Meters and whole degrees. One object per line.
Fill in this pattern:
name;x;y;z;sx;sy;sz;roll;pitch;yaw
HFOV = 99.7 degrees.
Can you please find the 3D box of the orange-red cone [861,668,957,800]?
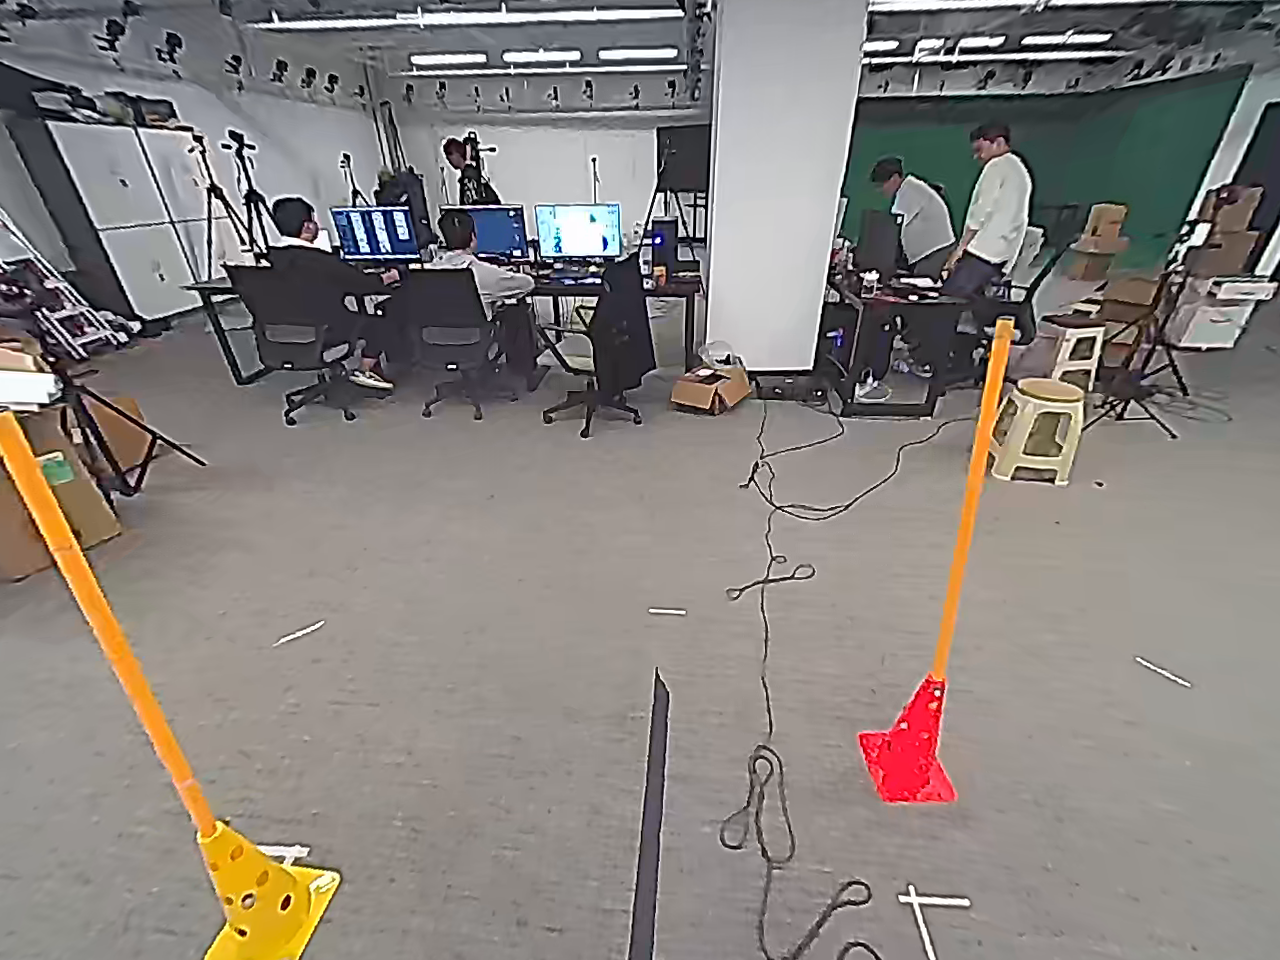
orange-red cone;0.718;0.620;1.382;0.199;0.360;0.198;-2;29;1
